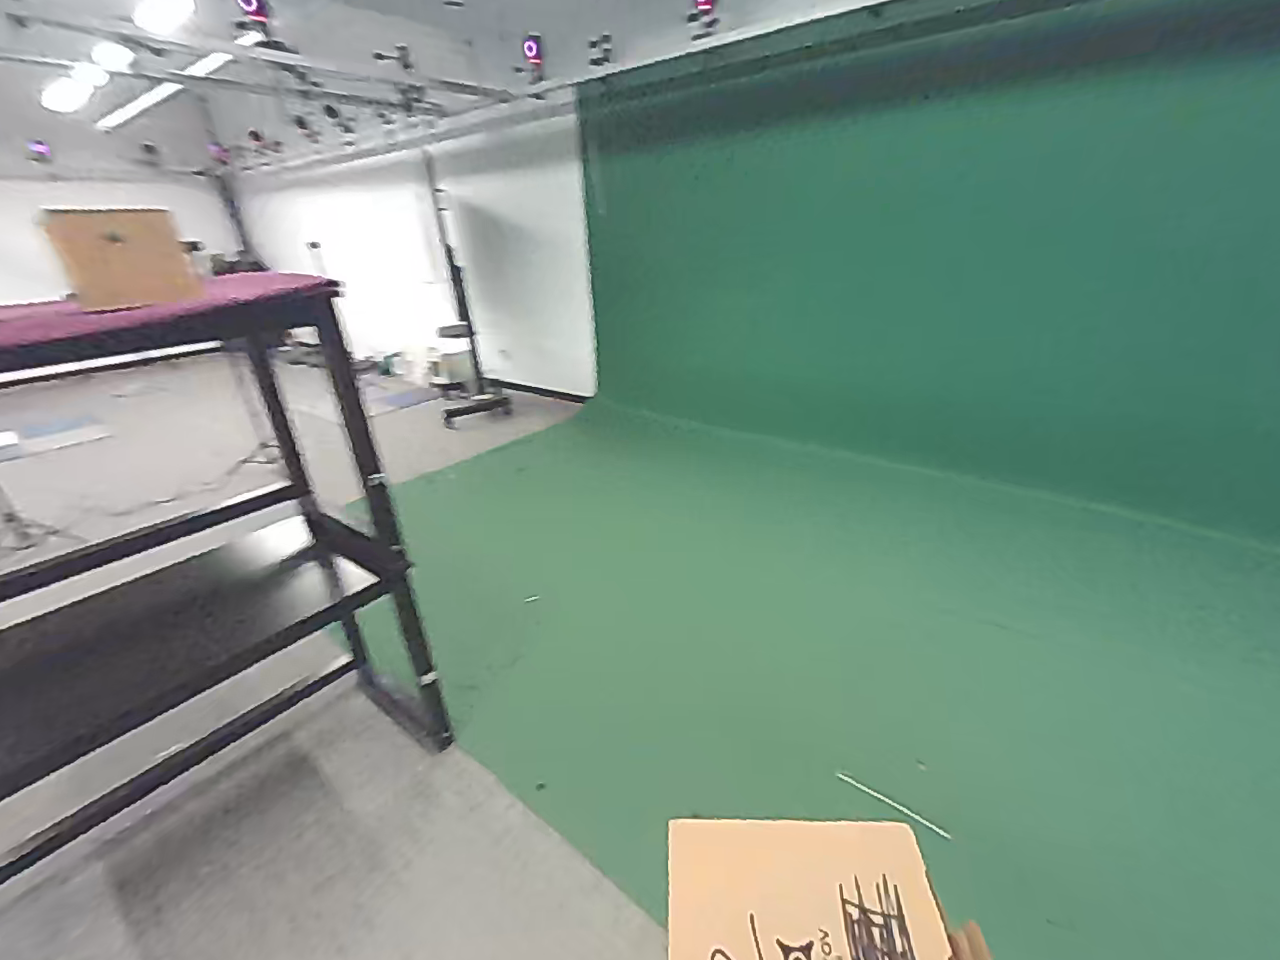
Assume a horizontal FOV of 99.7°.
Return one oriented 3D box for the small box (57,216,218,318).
[{"bbox_3d":[-0.985,-0.417,1.066,0.168,0.176,0.179,15,30,38],"label":"small box"}]
